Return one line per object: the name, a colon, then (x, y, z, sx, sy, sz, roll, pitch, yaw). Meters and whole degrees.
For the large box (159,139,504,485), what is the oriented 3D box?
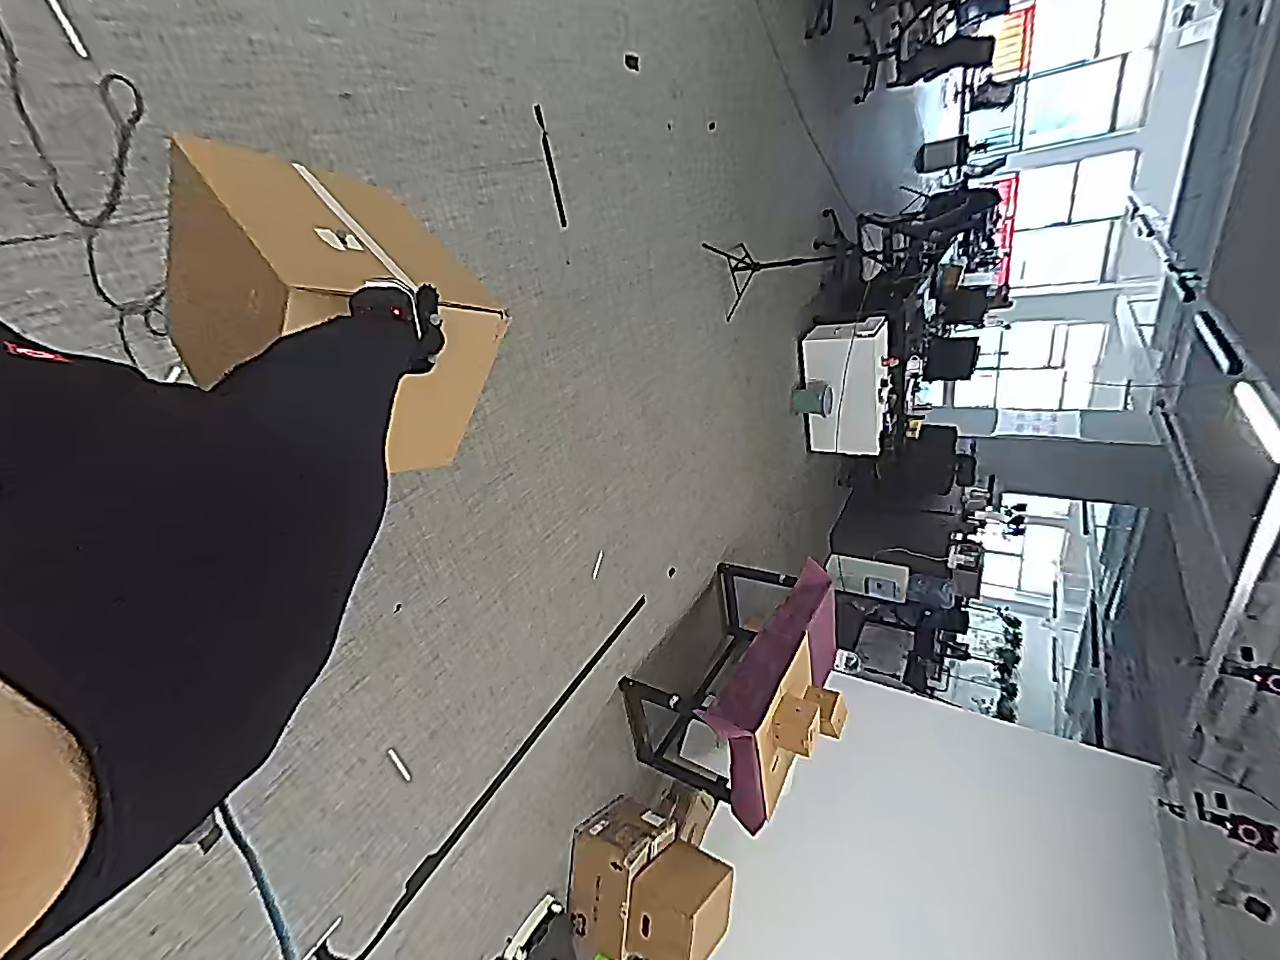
large box: (-0.504, -0.252, 0.872, 0.320, 0.408, 0.320, -15, 145, -53)
